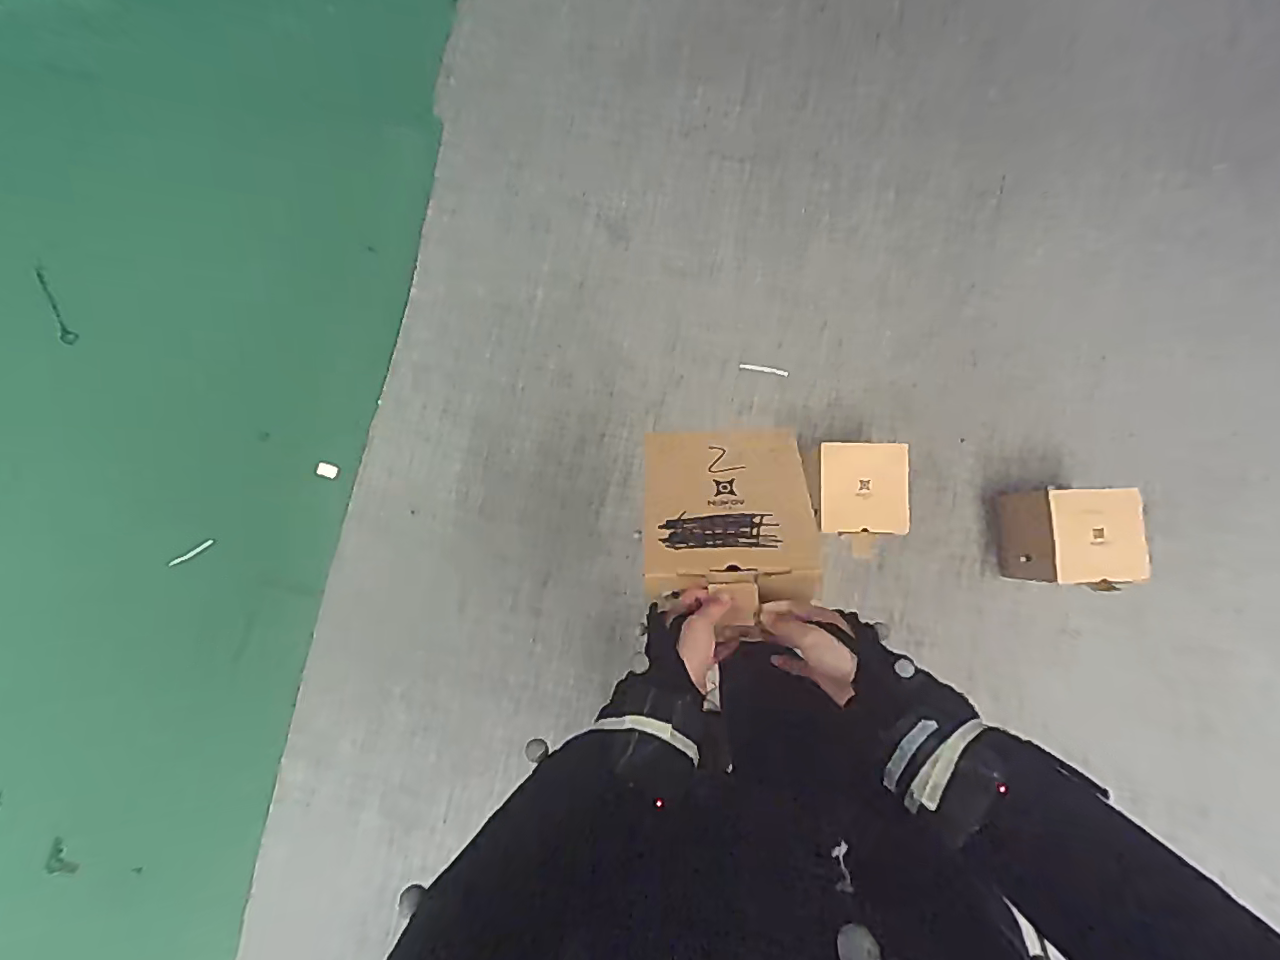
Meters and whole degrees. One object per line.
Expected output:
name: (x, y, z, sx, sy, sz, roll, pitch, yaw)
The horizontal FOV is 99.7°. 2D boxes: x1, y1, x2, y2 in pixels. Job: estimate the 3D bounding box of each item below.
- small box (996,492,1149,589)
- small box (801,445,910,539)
small box: (0.840, 0.118, 1.067, 0.168, 0.176, 0.179, -2, 83, 2)
small box: (0.430, 0.029, 1.102, 0.168, 0.176, 0.179, 1, 85, 4)
